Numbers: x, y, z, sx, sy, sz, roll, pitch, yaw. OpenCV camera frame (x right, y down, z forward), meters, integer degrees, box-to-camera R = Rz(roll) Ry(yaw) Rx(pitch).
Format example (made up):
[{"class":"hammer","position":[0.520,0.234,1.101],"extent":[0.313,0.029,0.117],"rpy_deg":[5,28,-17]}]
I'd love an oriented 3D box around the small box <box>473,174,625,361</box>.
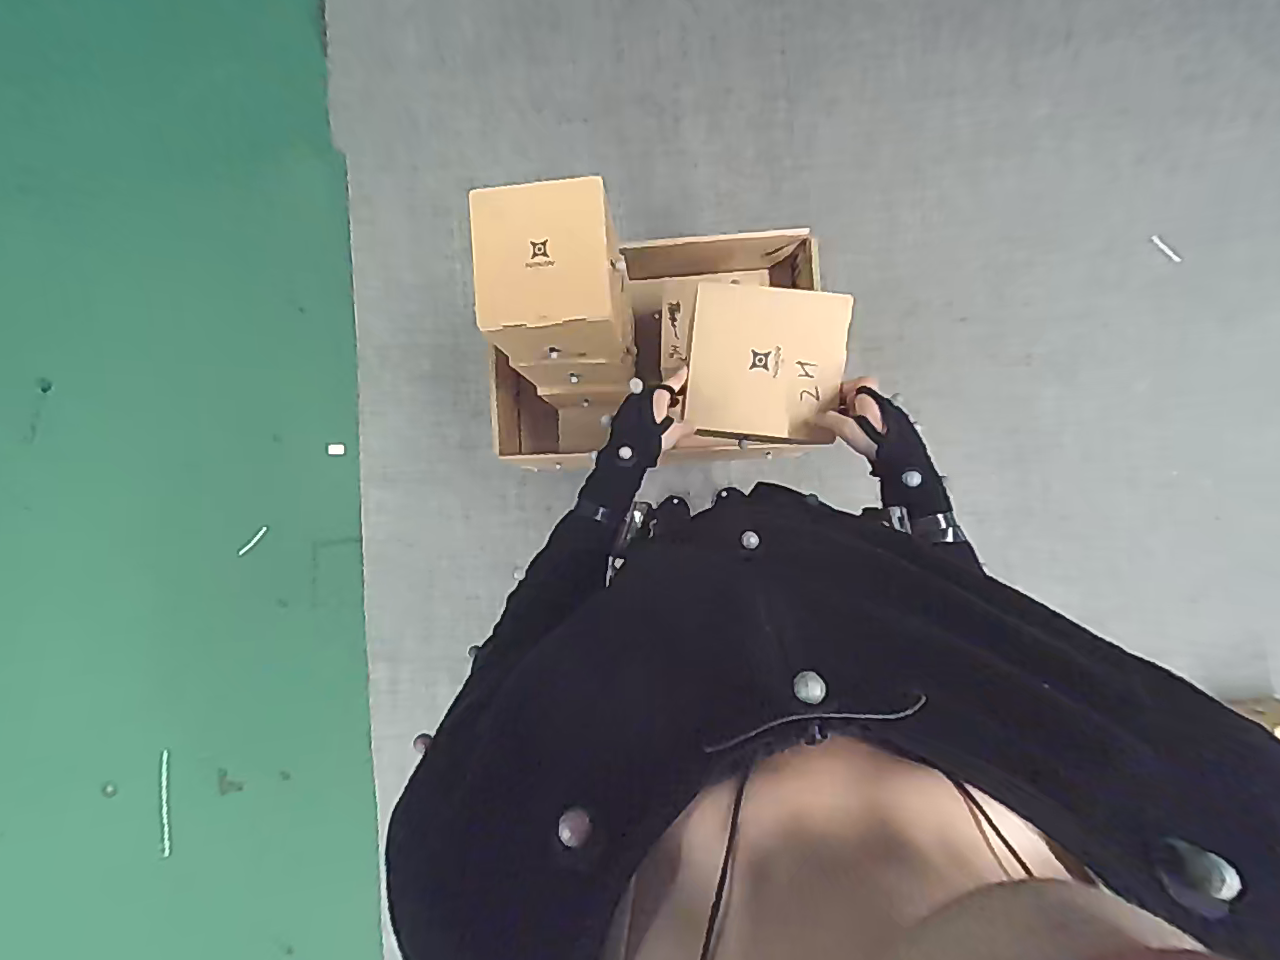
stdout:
[{"class":"small box","position":[-0.113,-0.272,0.724],"extent":[0.168,0.176,0.179],"rpy_deg":[-4,88,4]}]

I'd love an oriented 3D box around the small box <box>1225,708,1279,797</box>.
[{"class":"small box","position":[1.572,0.660,1.297],"extent":[0.168,0.176,0.179],"rpy_deg":[-5,87,5]}]

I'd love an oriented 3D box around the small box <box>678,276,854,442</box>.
[{"class":"small box","position":[0.142,-0.138,0.674],"extent":[0.179,0.176,0.168],"rpy_deg":[6,93,2]}]
